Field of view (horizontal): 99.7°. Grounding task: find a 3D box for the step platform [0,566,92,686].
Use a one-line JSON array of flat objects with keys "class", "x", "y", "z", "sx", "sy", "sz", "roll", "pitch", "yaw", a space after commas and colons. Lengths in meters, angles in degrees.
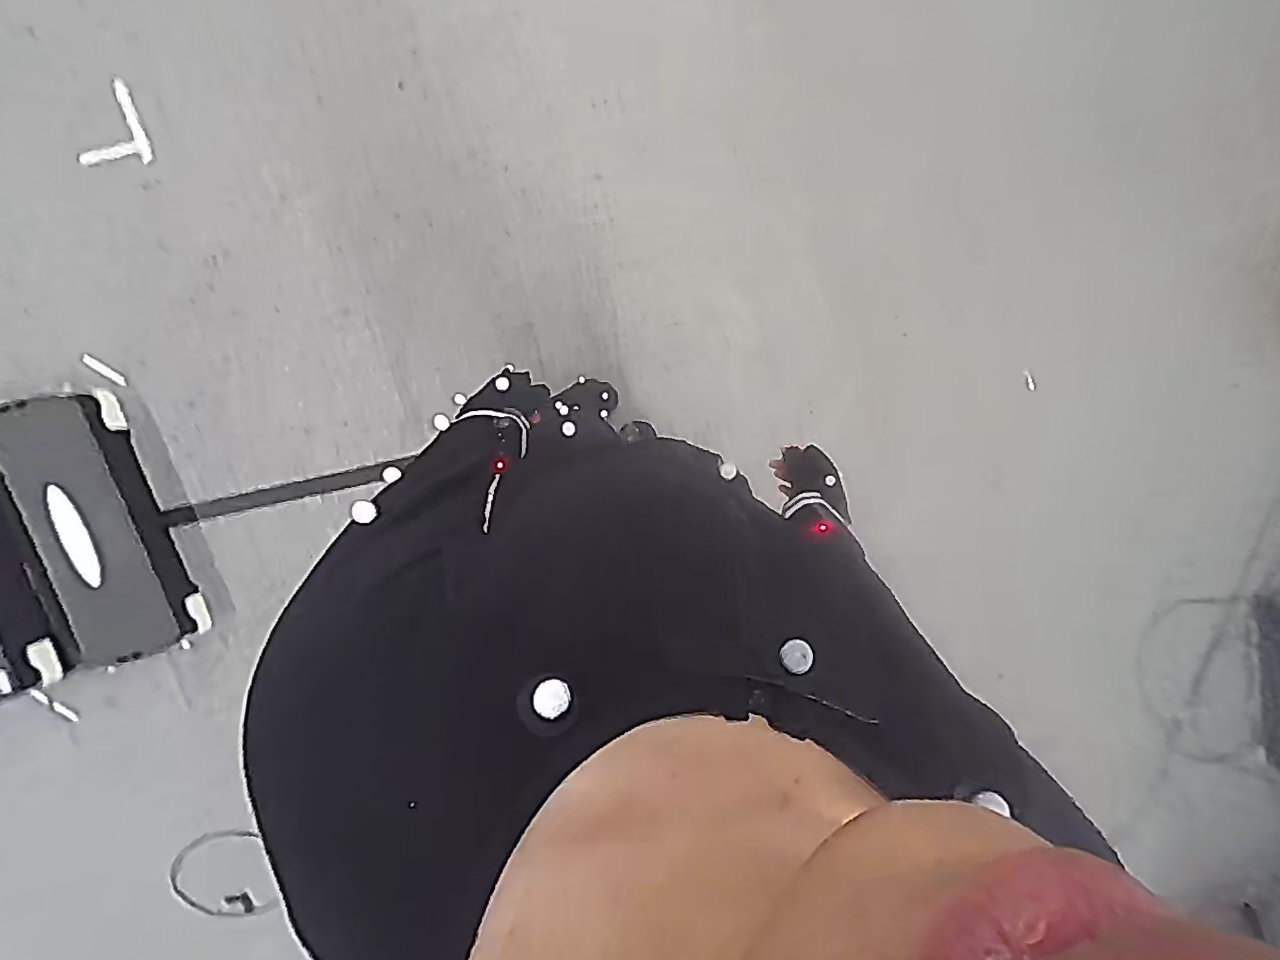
[{"class": "step platform", "x": -1.638, "y": 0.171, "z": 1.271, "sx": 0.286, "sy": 0.204, "sz": 0.684, "roll": -15, "pitch": 99, "yaw": -3}]
